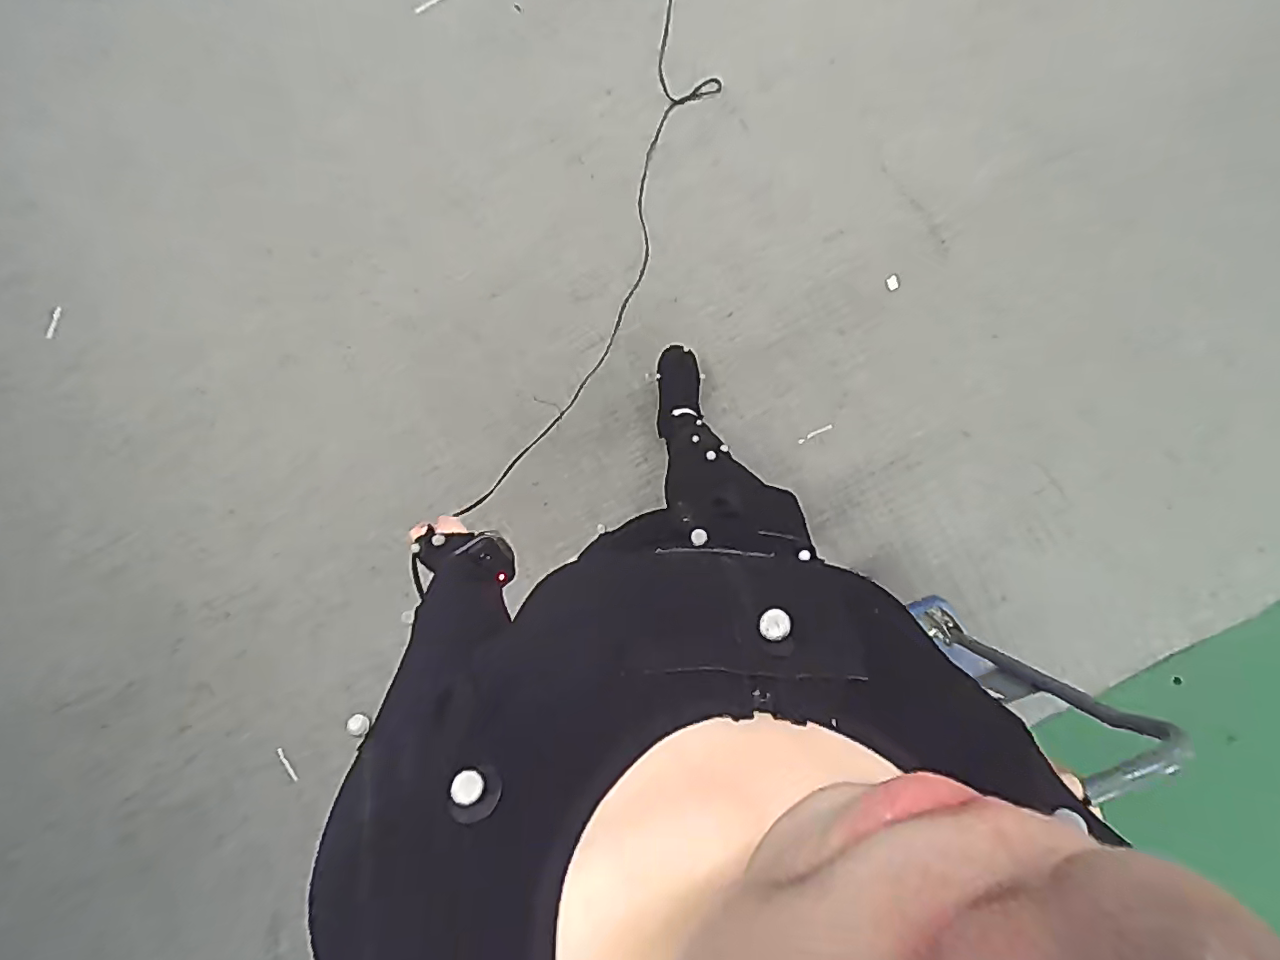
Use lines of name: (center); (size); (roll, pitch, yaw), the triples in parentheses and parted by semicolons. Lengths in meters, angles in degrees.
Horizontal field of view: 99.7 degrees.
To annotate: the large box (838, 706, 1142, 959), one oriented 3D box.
large box: (0.714, 0.759, 1.169); (0.408, 0.320, 0.320); (-22, 90, 3)
